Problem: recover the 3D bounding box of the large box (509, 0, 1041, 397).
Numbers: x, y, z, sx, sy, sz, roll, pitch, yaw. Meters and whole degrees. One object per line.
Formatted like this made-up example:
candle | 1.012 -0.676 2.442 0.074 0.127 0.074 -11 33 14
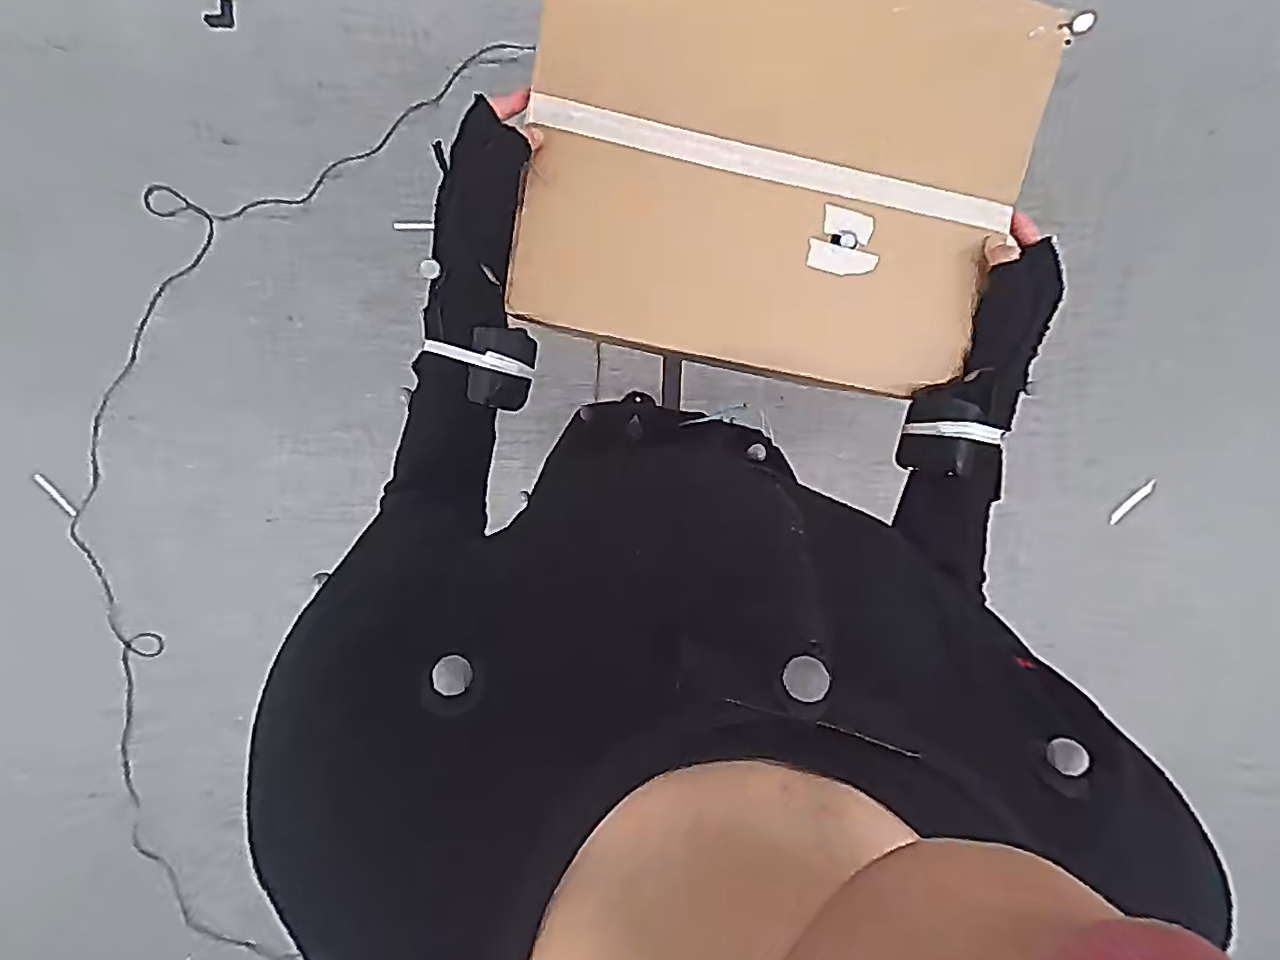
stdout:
large box | 0.095 -0.286 0.594 0.408 0.320 0.320 10 103 -6
